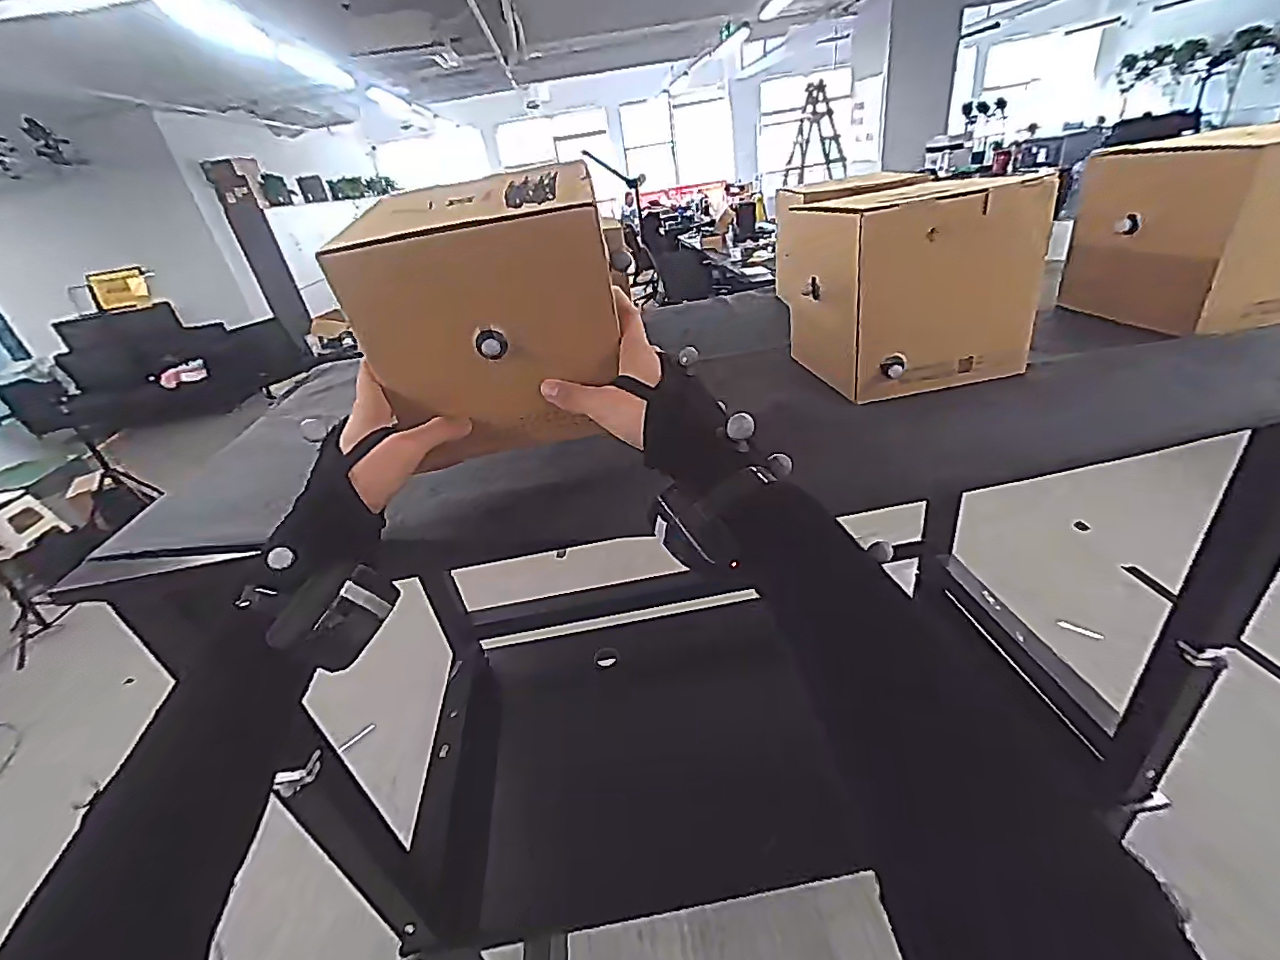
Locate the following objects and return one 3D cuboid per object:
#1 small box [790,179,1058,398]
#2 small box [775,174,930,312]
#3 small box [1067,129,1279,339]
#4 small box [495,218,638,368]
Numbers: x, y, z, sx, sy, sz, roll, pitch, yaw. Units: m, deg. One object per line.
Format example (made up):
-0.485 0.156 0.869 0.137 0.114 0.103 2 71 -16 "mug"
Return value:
0.261 -0.189 0.541 0.168 0.176 0.179 -10 27 -1 "small box"
0.304 -0.348 0.808 0.168 0.176 0.179 -7 29 2 "small box"
0.594 -0.255 0.558 0.168 0.176 0.179 -11 29 -1 "small box"
-0.100 -0.270 0.785 0.168 0.176 0.179 -10 30 -3 "small box"
